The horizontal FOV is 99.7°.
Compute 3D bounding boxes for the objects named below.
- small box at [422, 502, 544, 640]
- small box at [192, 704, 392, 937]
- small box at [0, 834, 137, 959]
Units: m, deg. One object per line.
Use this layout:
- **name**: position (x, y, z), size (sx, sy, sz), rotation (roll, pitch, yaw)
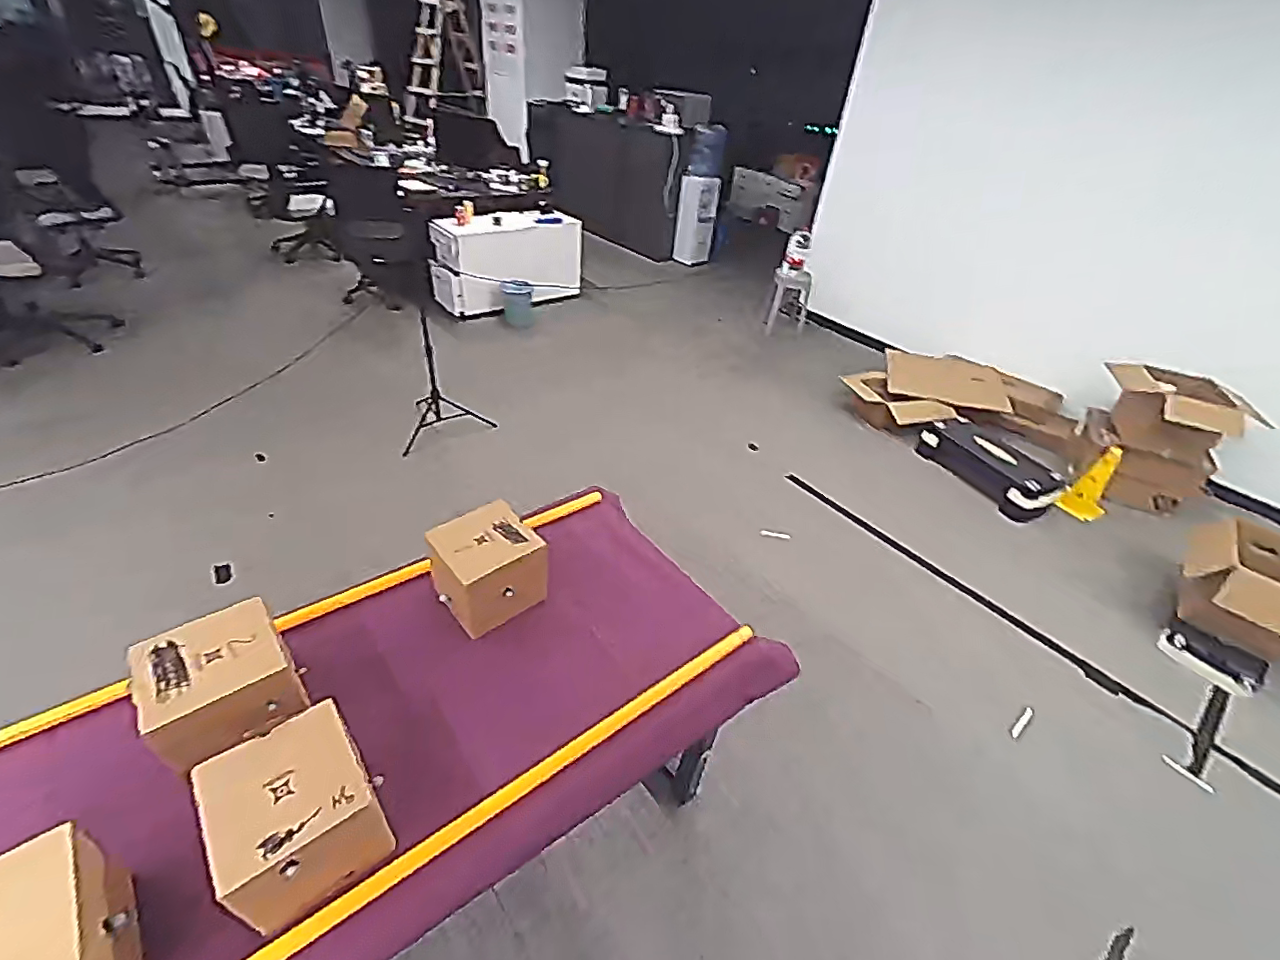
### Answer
- **small box**: position (-0.309, 0.181, 1.086), size (0.179, 0.176, 0.168), rotation (-27, 50, -34)
- **small box**: position (-0.457, 0.450, 0.722), size (0.168, 0.176, 0.179), rotation (-24, 47, -32)
- **small box**: position (-0.679, 0.538, 0.578), size (0.179, 0.176, 0.168), rotation (-24, 47, -33)
